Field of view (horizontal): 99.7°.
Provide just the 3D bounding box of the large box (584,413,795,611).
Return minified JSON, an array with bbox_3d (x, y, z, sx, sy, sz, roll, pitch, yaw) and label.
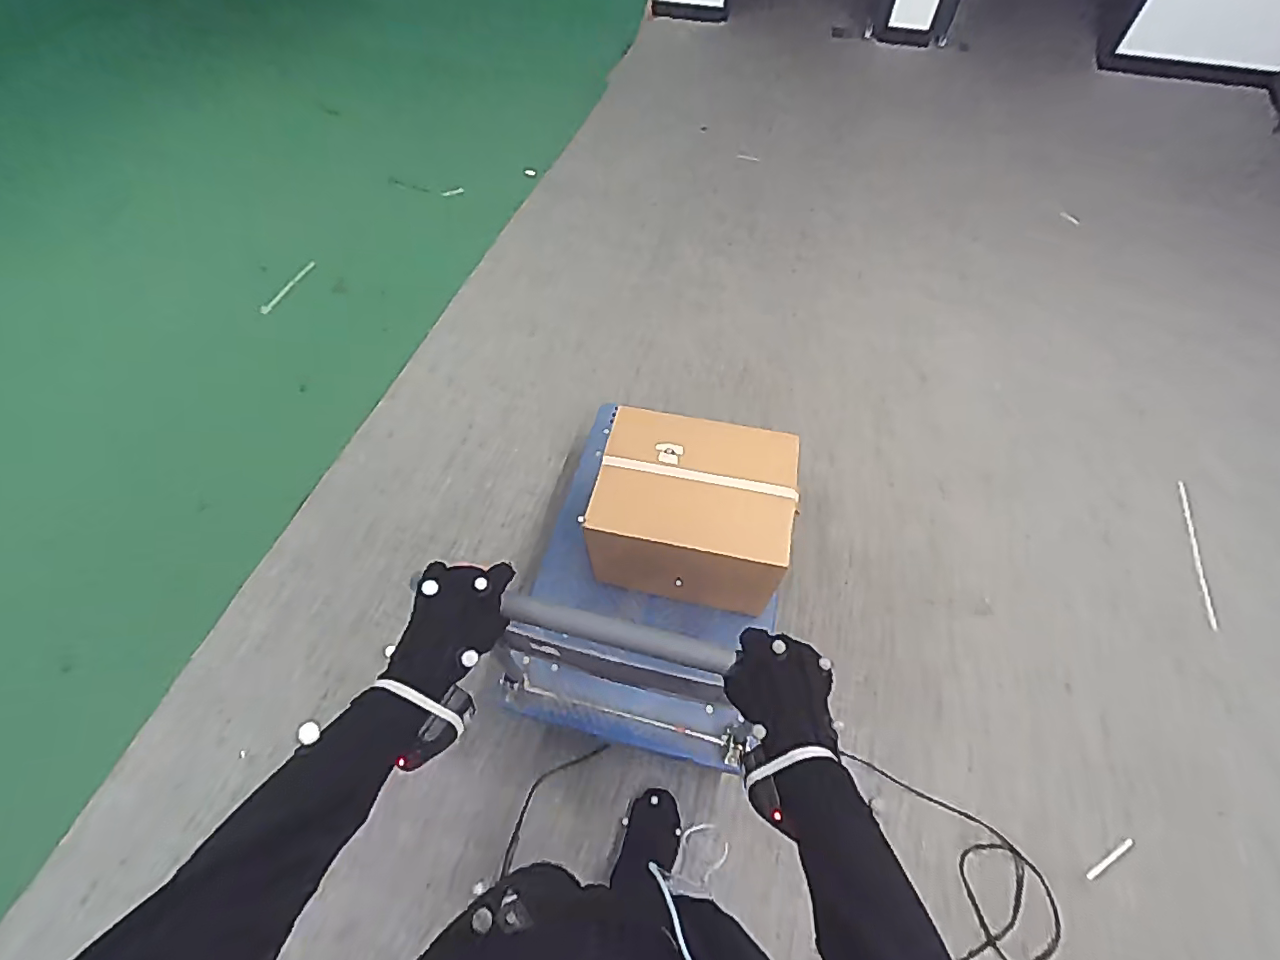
[{"bbox_3d":[0.120,0.082,1.251,0.408,0.320,0.320,10,59,9],"label":"large box"}]
